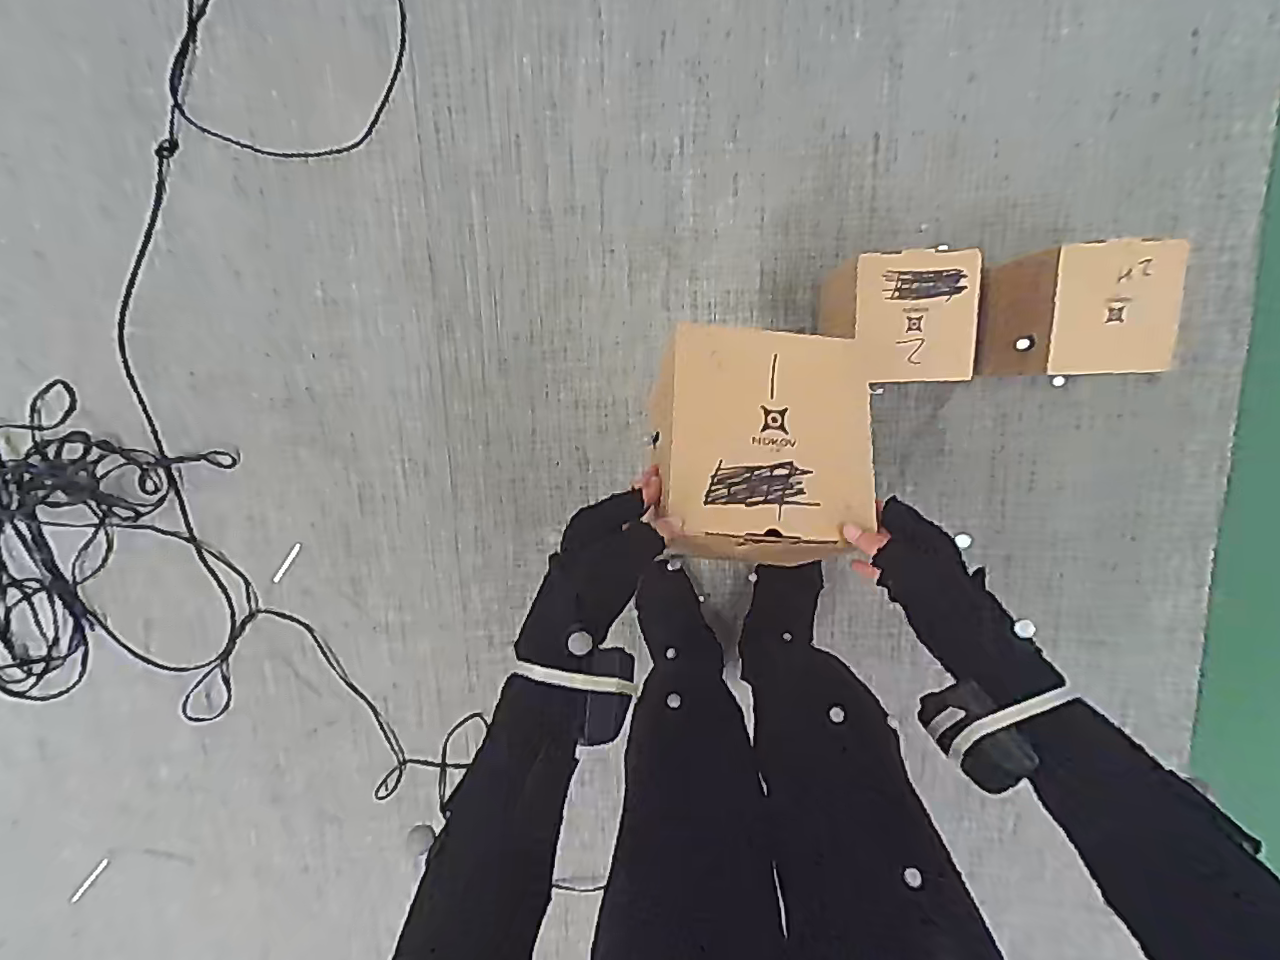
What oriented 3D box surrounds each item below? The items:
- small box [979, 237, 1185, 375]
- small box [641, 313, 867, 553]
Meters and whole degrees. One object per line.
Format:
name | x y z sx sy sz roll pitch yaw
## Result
small box | 0.635 -0.246 0.803 0.168 0.176 0.179 -1 99 3
small box | 0.092 -0.029 0.505 0.168 0.176 0.179 4 76 -4
